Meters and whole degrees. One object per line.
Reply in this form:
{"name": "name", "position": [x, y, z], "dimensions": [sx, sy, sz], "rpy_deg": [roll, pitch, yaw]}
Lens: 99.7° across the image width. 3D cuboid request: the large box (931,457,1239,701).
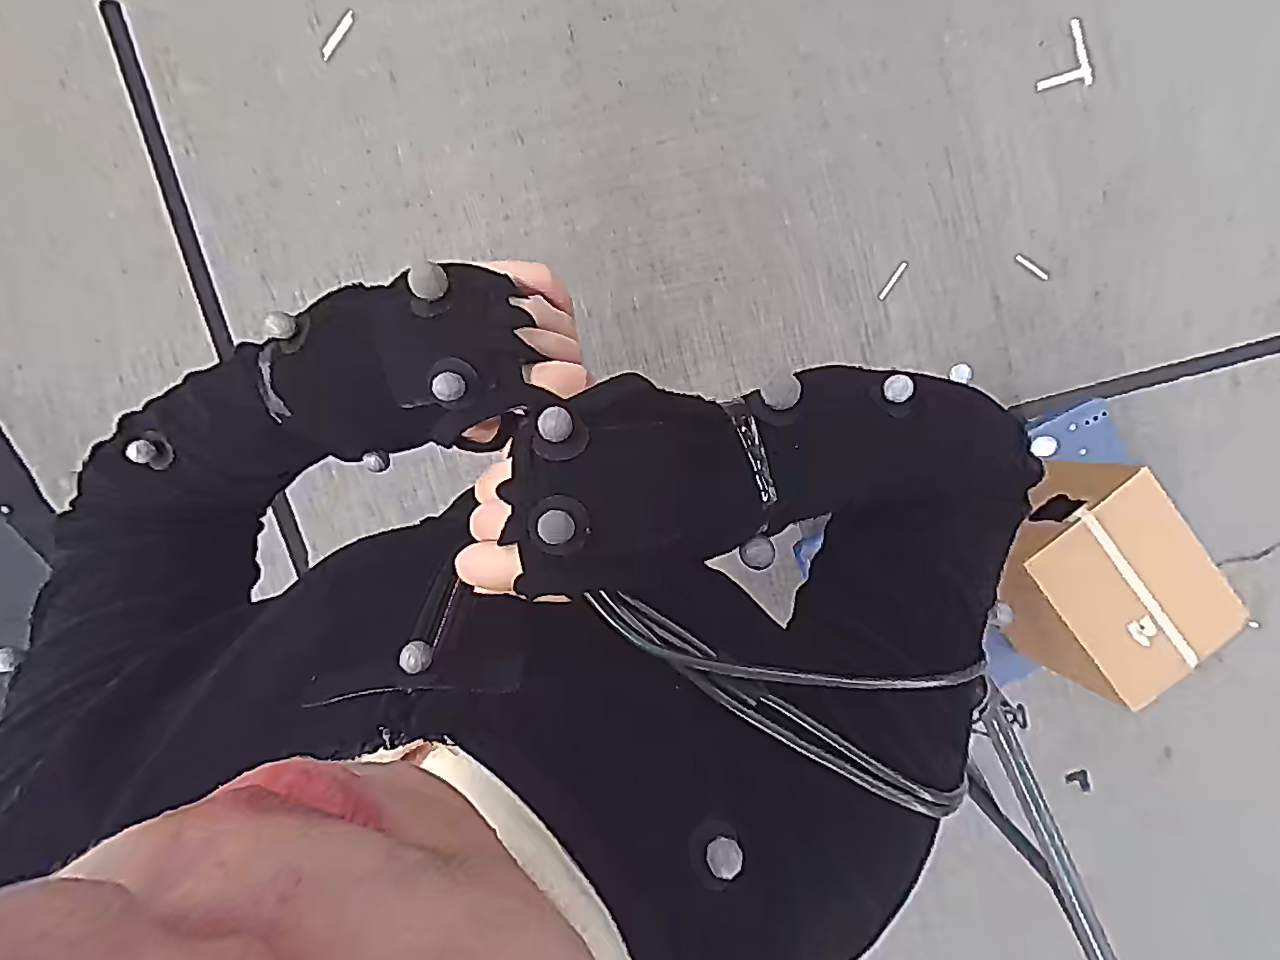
{"name": "large box", "position": [0.972, 0.196, 1.229], "dimensions": [0.320, 0.320, 0.408], "rpy_deg": [-38, 96, 1]}
